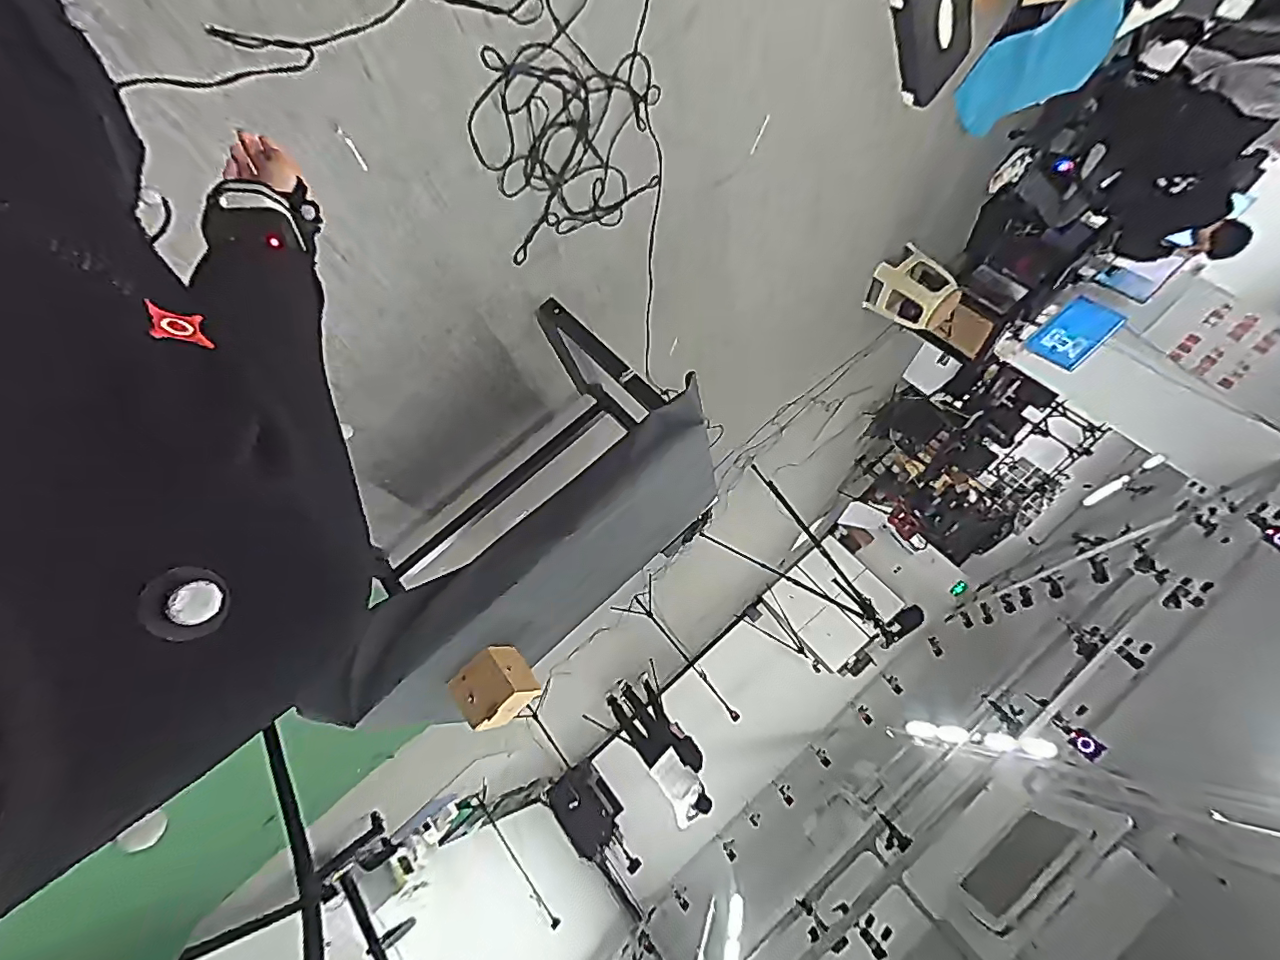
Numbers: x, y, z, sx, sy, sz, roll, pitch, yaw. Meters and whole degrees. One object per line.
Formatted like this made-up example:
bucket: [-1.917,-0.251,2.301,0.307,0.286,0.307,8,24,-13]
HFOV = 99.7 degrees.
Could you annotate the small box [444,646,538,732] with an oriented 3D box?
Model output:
small box: [-0.440,0.609,1.598,0.168,0.176,0.179,-43,158,0]
